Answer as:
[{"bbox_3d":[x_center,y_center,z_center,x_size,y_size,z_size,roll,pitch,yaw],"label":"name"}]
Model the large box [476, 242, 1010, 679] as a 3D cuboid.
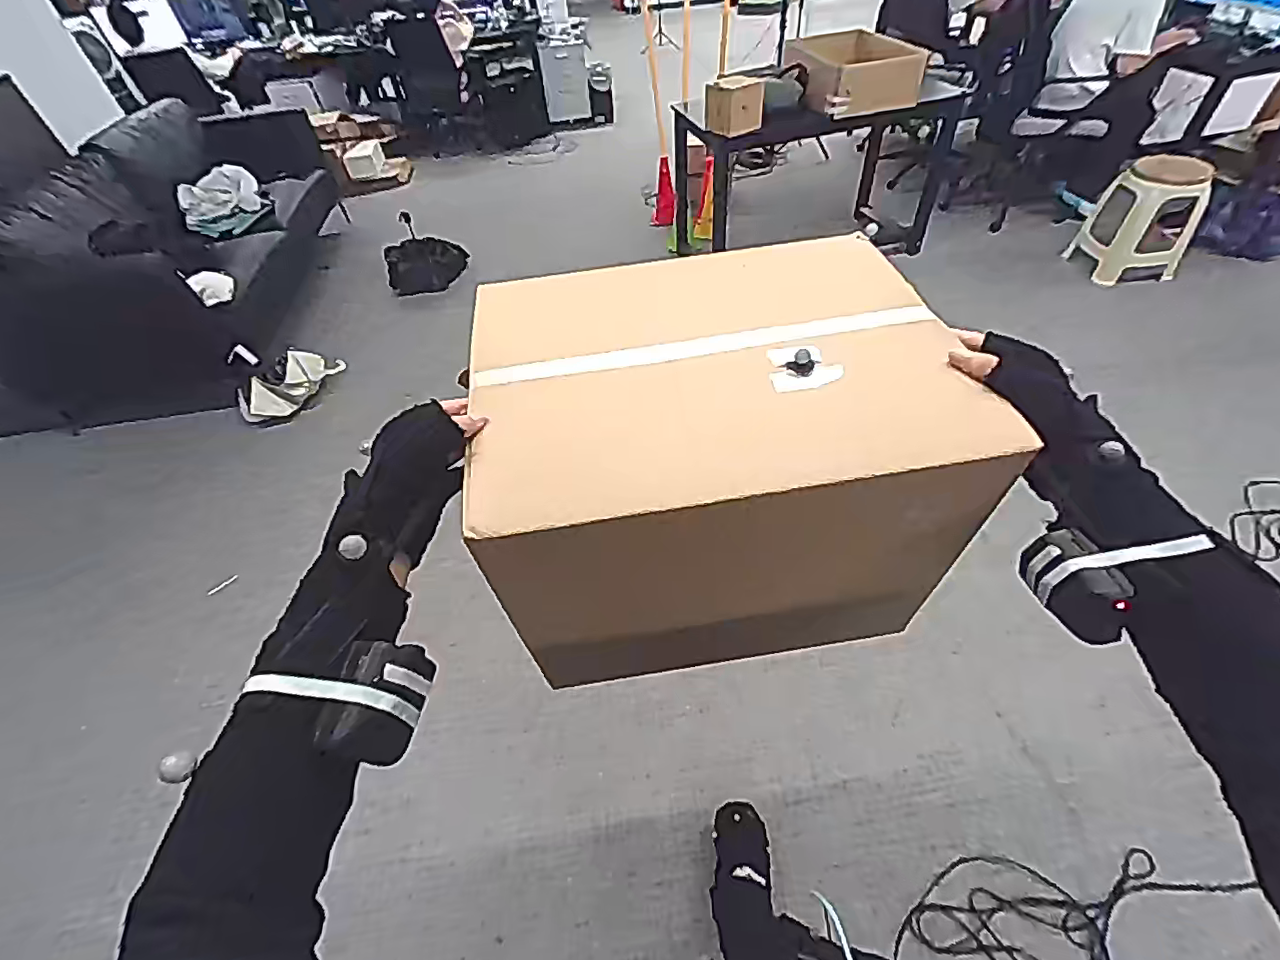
[{"bbox_3d":[0.064,-0.015,0.592,0.408,0.320,0.320,-9,52,-3],"label":"large box"}]
